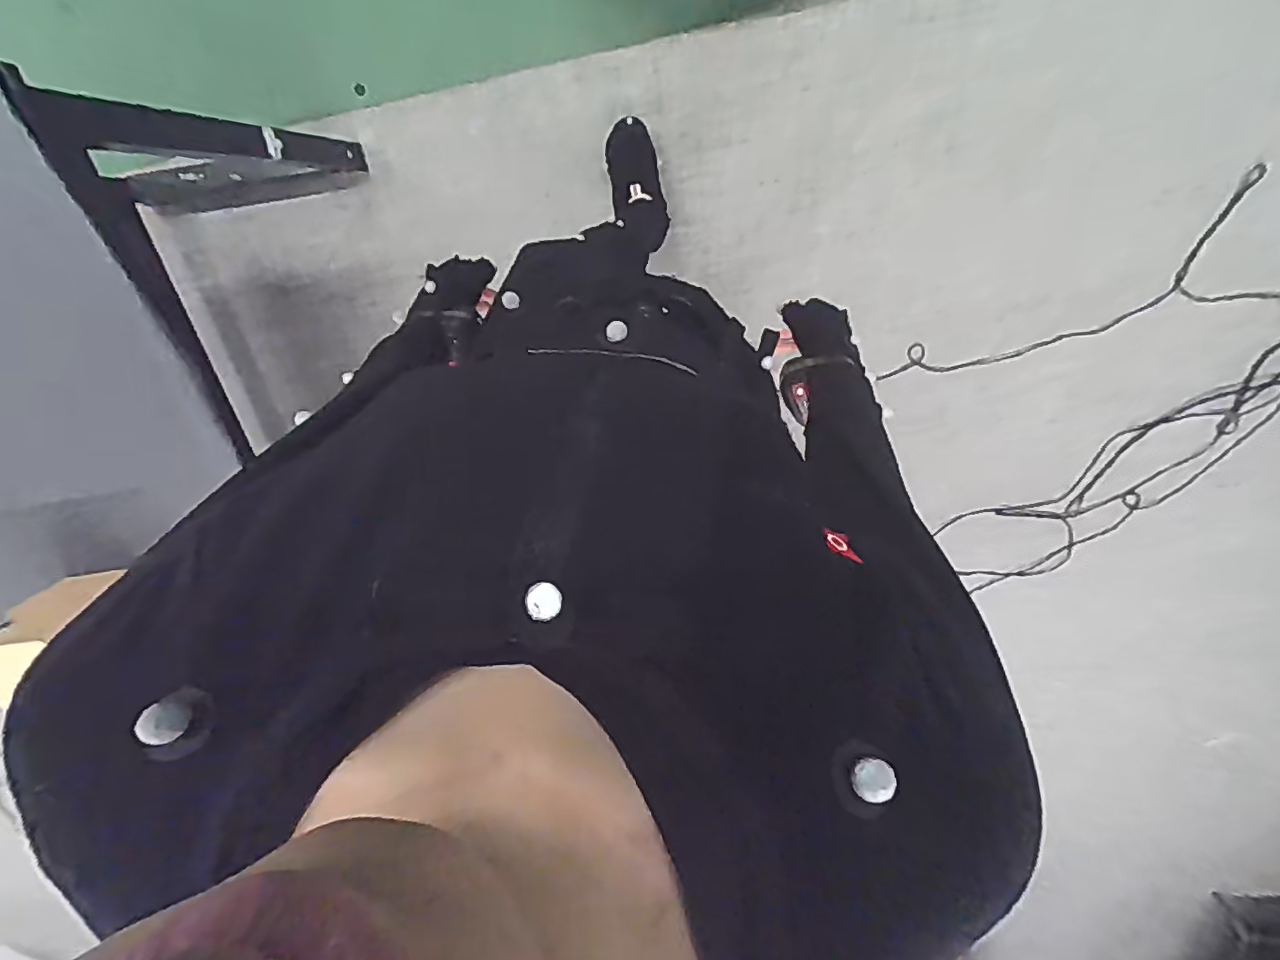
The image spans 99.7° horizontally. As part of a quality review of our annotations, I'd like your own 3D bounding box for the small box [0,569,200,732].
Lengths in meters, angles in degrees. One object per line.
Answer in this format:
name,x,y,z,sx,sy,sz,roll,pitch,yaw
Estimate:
small box,-0.849,0.257,0.832,0.179,0.176,0.168,-9,116,8
